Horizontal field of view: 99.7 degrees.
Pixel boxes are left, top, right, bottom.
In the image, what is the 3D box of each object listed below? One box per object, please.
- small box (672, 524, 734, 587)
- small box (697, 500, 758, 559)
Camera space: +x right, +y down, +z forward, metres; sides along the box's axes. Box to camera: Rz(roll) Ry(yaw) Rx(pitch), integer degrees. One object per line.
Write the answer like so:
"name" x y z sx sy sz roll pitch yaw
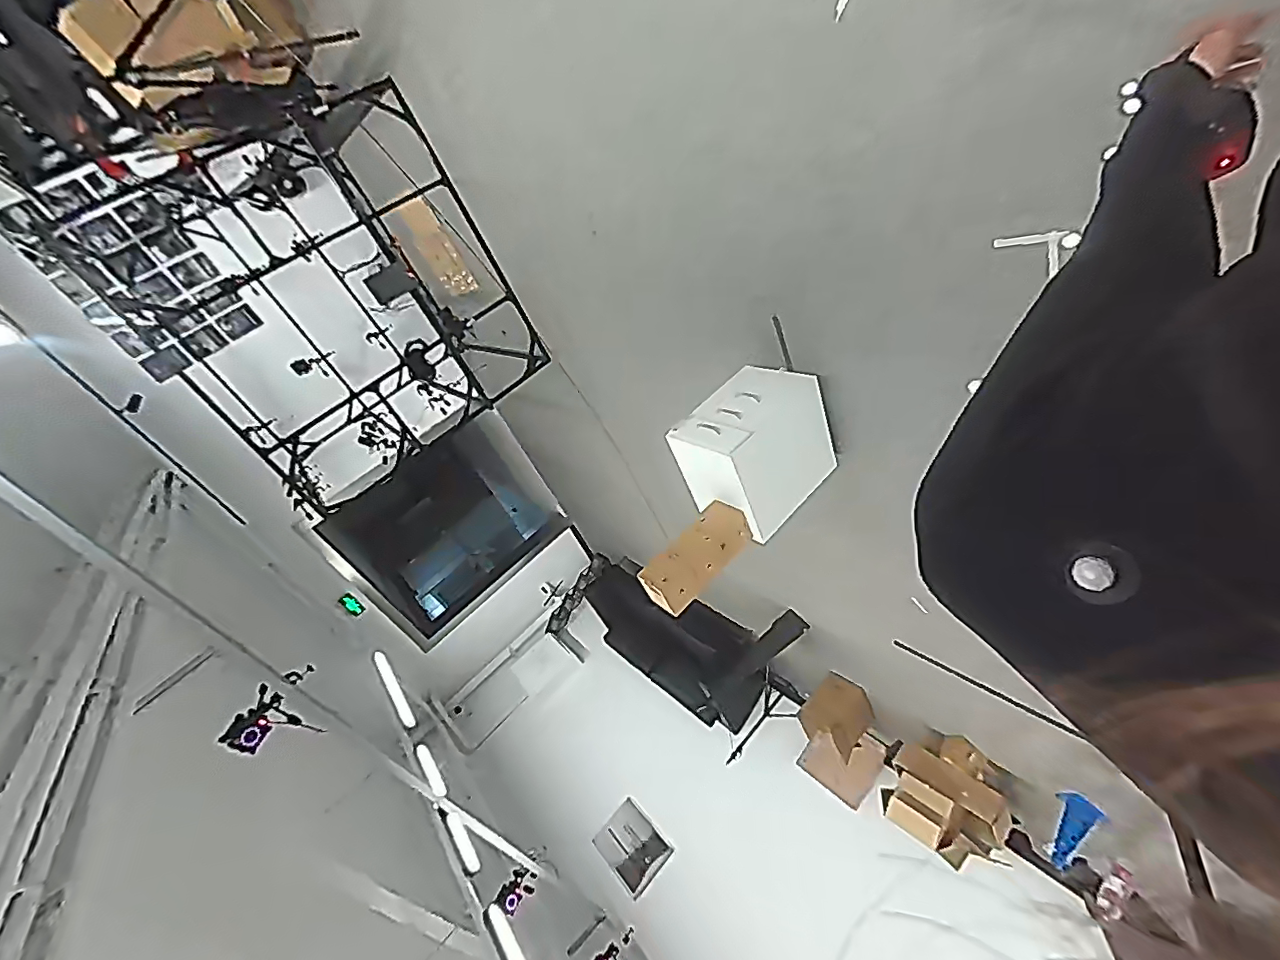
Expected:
"small box" 0.272 0.317 2.311 0.168 0.176 0.179 26 151 50
"small box" 0.385 0.212 2.367 0.179 0.176 0.168 24 150 51
